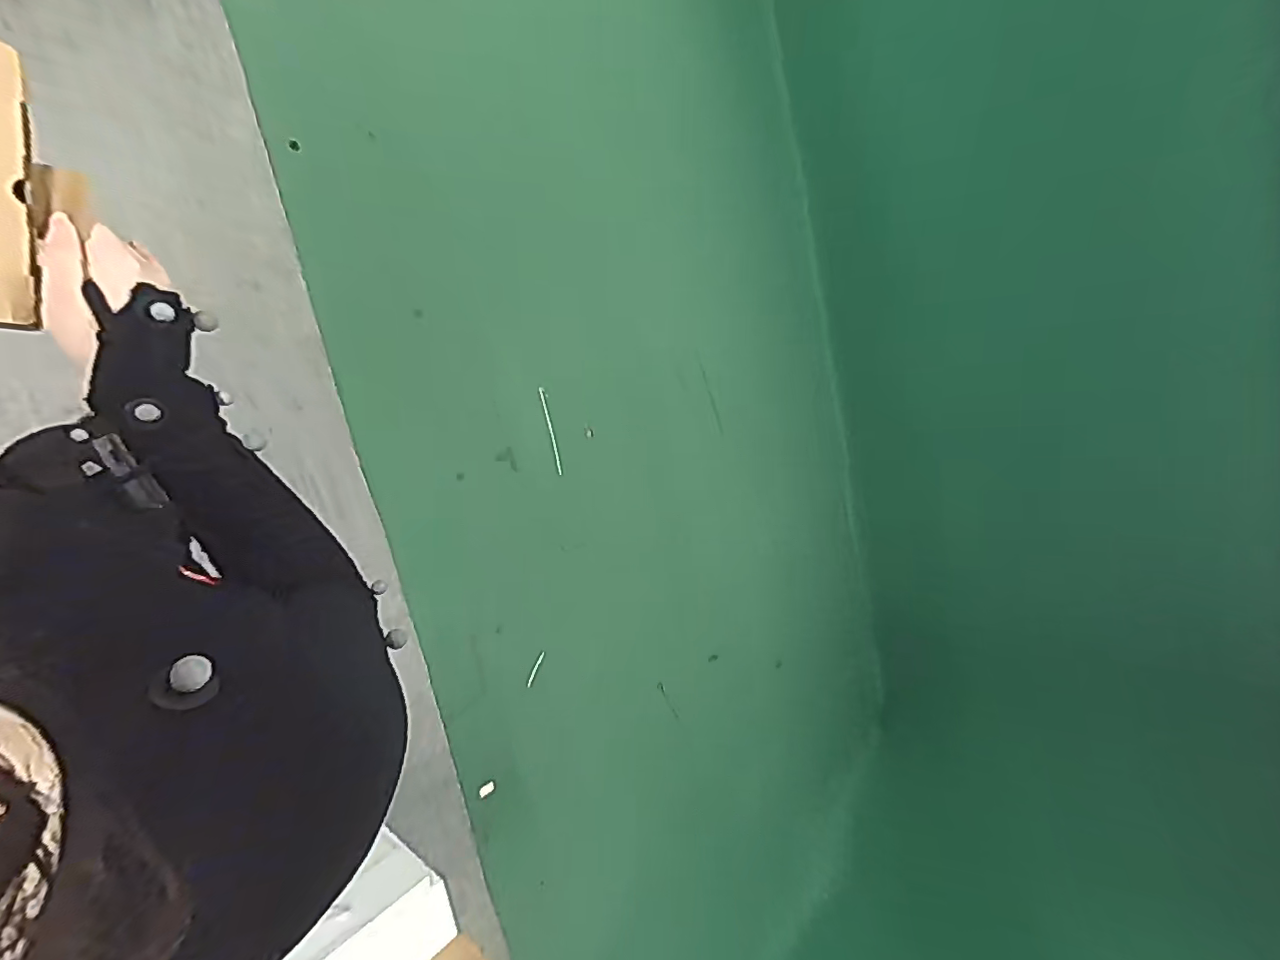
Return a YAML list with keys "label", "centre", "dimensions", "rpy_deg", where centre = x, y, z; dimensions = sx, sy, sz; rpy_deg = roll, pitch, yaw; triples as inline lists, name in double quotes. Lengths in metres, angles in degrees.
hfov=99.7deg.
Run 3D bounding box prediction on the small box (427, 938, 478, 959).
- label: "small box"
  centre: [-0.311, 0.900, 0.861]
  dimensions: [0.179, 0.176, 0.168]
  rpy_deg: [-20, 101, -46]
